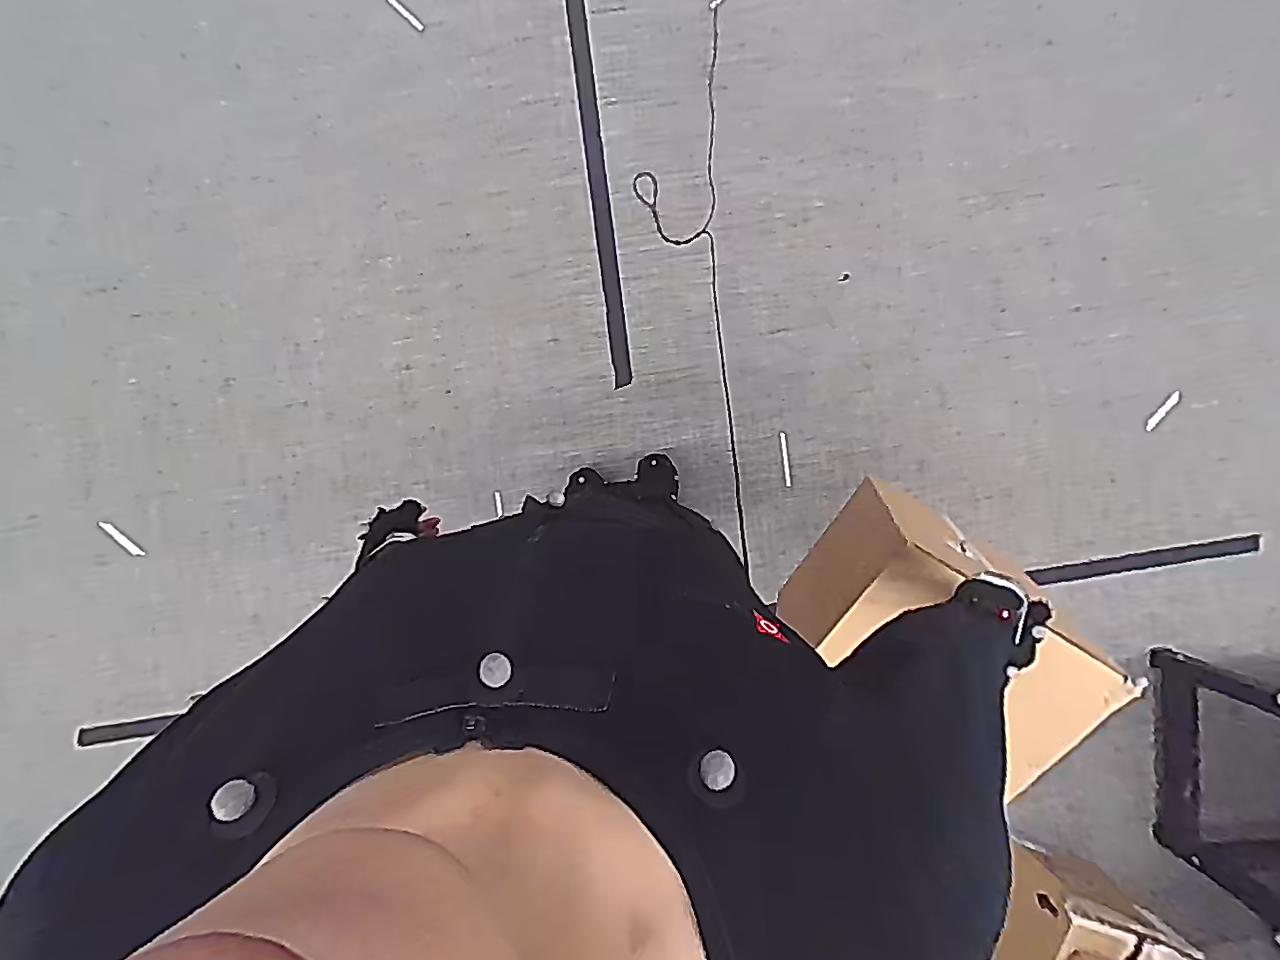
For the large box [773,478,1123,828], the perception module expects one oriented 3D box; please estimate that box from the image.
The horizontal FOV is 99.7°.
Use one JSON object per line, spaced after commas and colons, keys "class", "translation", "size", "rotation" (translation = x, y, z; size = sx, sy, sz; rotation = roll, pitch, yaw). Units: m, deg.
{"class": "large box", "translation": [0.439, 0.245, 0.904], "size": [0.320, 0.408, 0.320], "rotation": [33, 110, 6]}
